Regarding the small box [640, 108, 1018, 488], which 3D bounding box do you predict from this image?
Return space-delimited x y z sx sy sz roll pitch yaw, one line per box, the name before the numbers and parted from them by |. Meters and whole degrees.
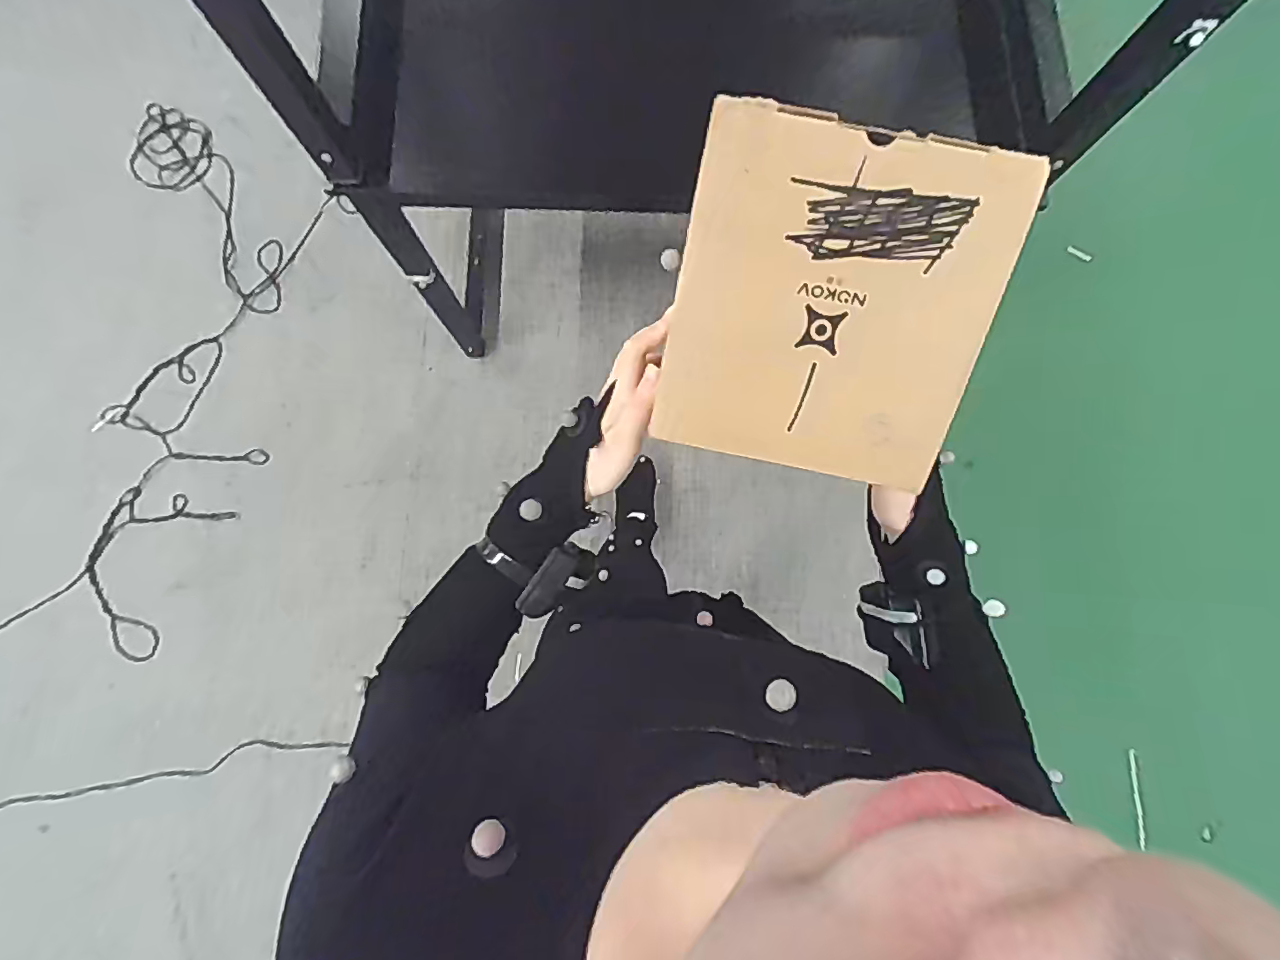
small box | 0.102 -0.118 0.375 0.168 0.176 0.179 13 111 2
